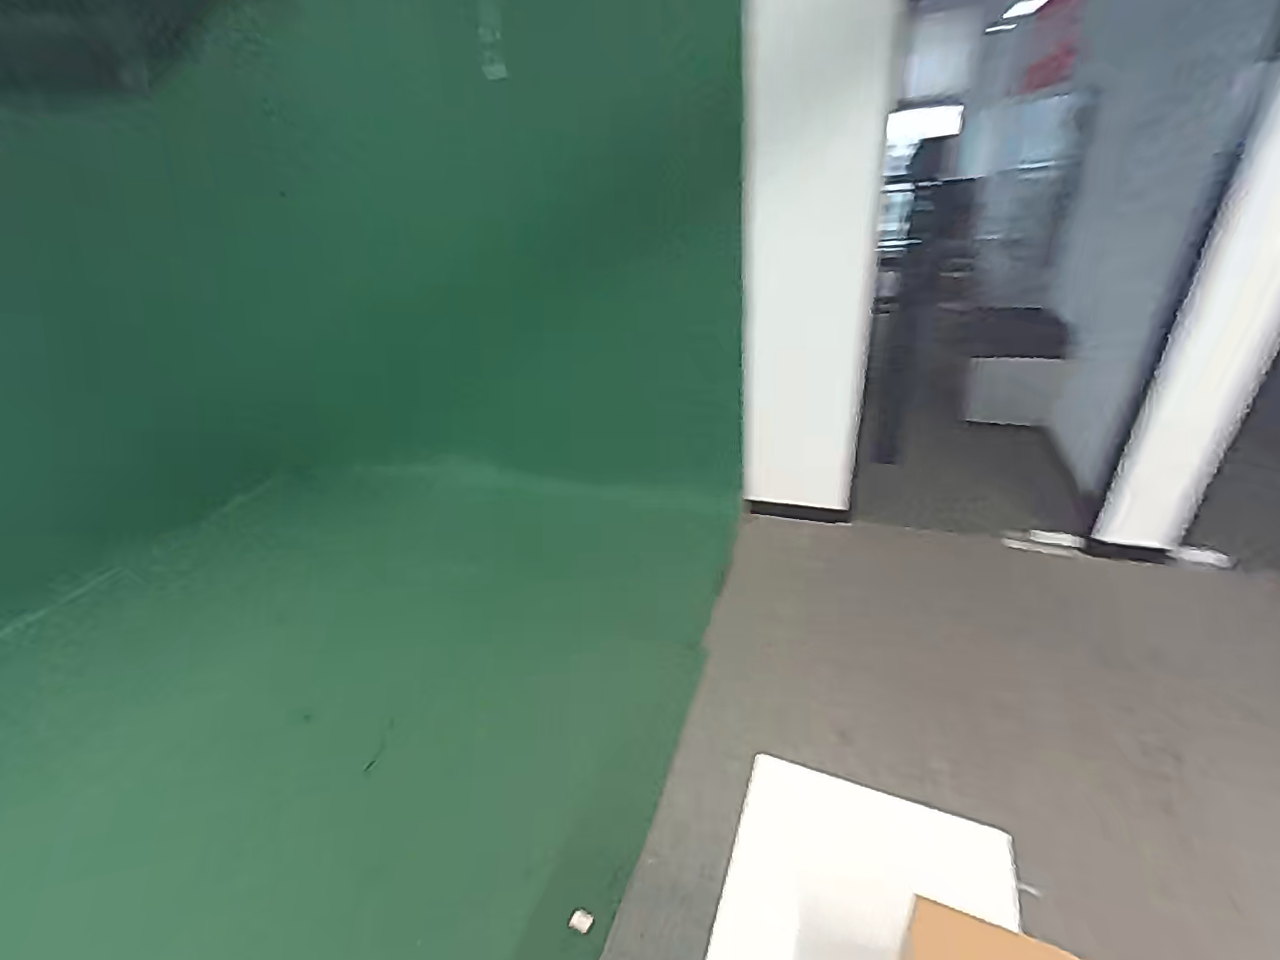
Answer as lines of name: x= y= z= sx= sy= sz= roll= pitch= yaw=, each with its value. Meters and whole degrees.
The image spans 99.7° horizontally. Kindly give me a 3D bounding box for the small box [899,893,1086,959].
small box: x=0.396 y=0.629 z=0.611 sx=0.179 sy=0.176 sz=0.168 roll=7 pitch=31 yaw=24
